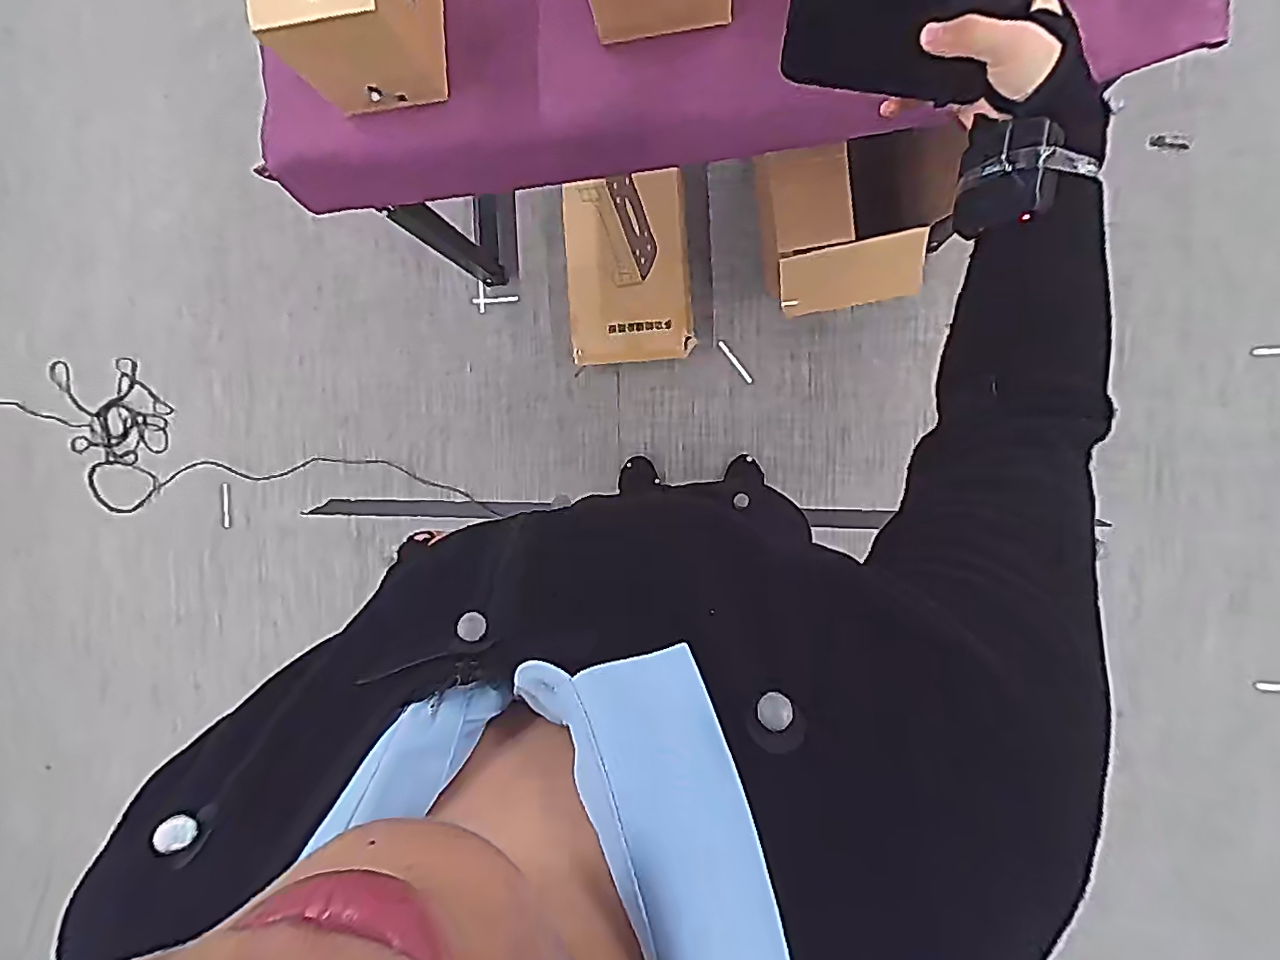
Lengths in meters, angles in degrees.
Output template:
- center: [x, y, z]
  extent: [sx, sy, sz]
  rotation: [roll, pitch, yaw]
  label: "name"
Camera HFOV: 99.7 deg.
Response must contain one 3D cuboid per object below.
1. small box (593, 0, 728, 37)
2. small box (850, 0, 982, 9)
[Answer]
- center: [0.021, -0.669, 0.629]
  extent: [0.179, 0.176, 0.168]
  rotation: [-2, 91, 9]
  label: "small box"
- center: [0.336, -0.658, 0.584]
  extent: [0.179, 0.176, 0.168]
  rotation: [5, 94, 8]
  label: "small box"
